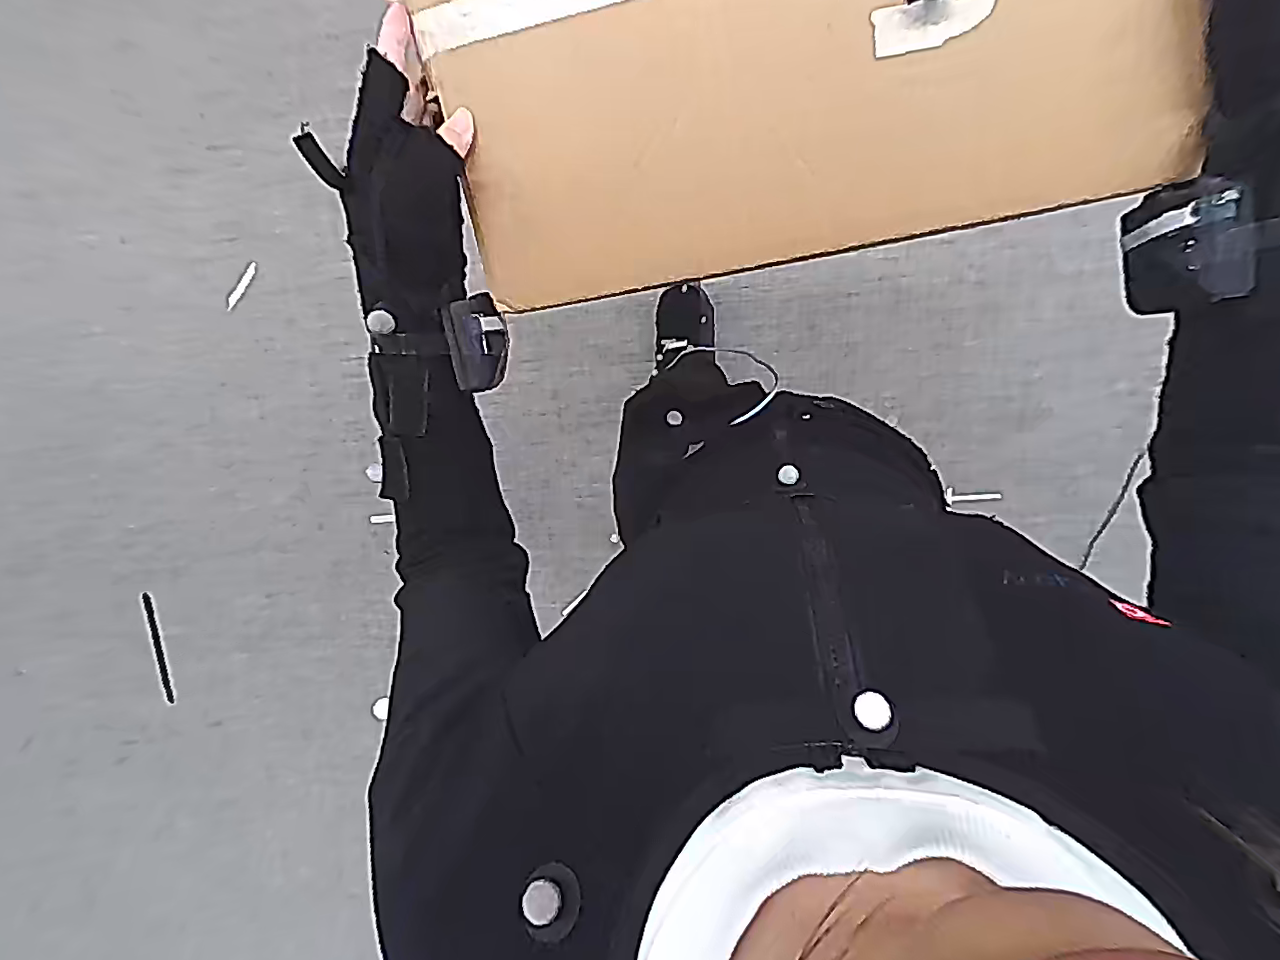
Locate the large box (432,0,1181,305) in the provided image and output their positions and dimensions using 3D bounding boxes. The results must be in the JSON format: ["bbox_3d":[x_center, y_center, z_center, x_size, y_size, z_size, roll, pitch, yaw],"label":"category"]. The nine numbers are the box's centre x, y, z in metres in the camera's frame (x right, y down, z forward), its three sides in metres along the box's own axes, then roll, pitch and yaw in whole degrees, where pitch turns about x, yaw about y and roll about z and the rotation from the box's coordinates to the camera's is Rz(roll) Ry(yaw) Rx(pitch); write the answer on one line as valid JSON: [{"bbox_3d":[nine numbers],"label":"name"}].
[{"bbox_3d":[0.088,-0.341,0.429,0.408,0.320,0.320,-8,110,9],"label":"large box"}]
